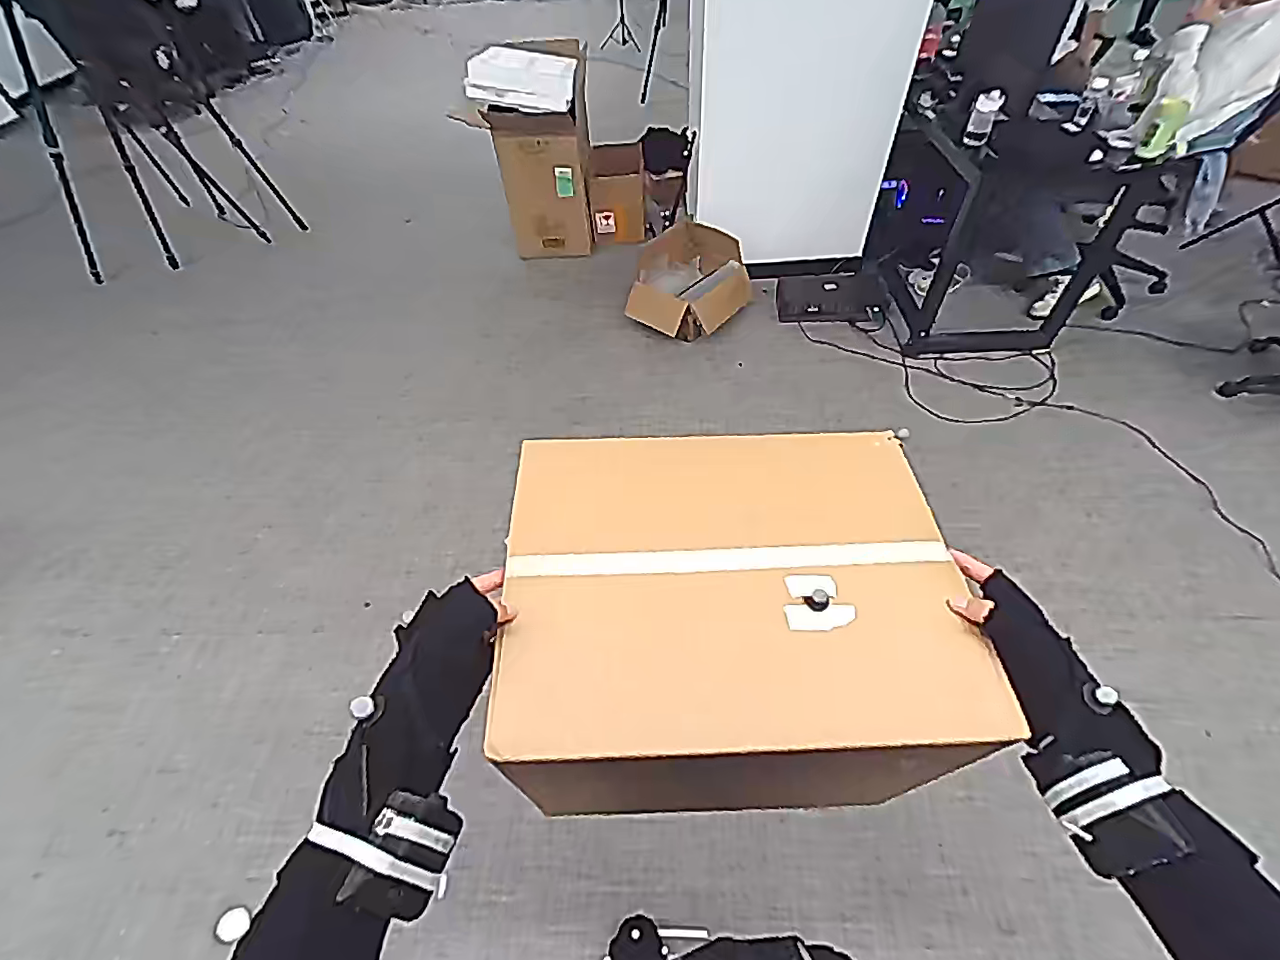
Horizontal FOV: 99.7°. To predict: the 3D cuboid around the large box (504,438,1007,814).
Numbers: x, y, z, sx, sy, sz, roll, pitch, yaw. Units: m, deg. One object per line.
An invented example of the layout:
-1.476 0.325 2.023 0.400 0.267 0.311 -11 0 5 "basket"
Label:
0.082 0.173 0.622 0.408 0.320 0.320 -2 52 -2 "large box"
